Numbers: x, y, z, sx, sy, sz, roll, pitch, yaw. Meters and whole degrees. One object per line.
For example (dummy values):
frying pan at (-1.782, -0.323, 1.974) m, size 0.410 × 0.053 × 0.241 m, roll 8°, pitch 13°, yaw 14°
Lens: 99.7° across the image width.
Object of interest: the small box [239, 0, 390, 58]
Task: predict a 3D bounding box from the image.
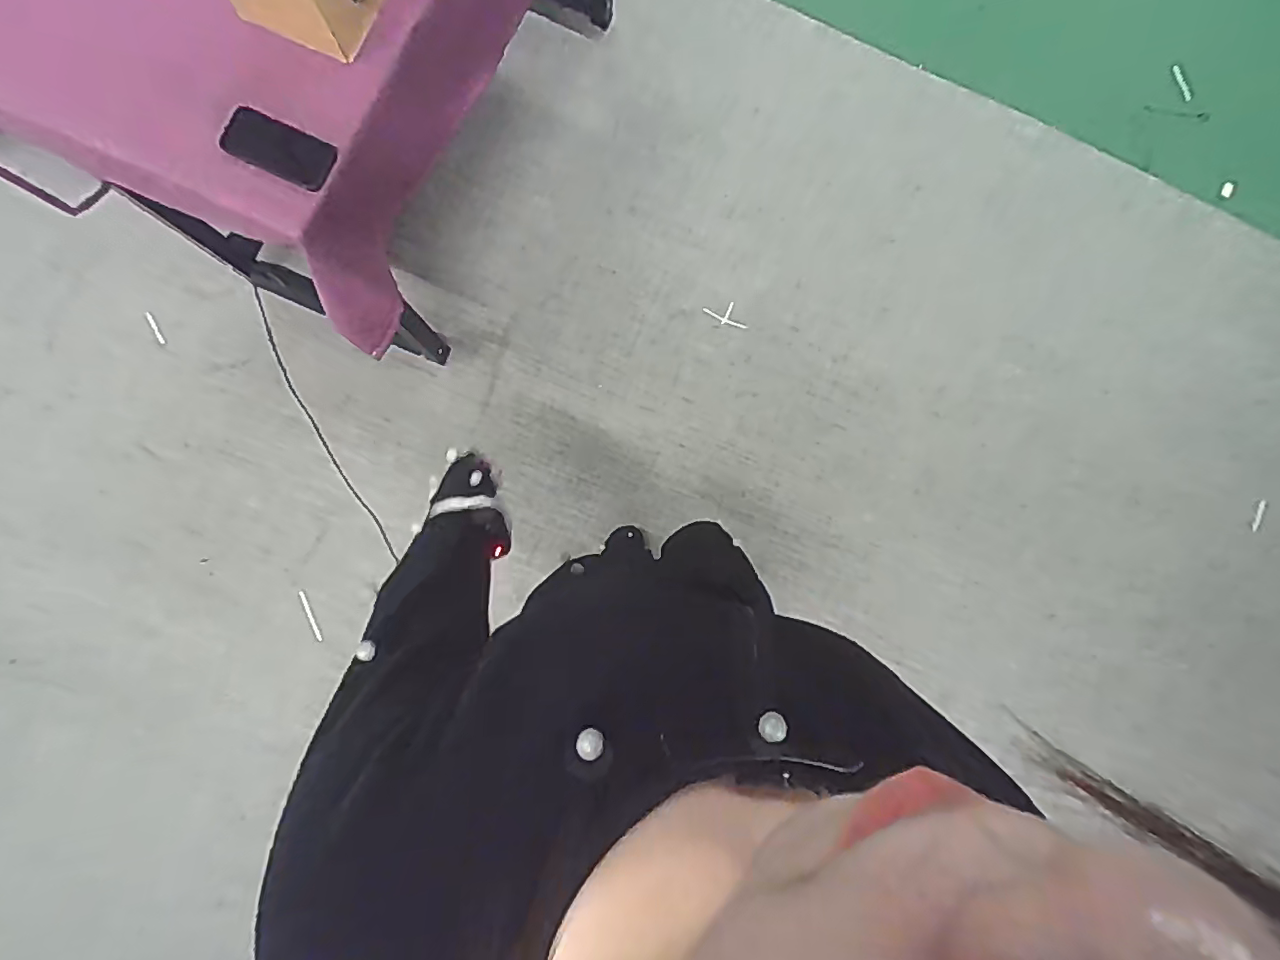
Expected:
small box at (-0.473, -0.736, 0.737) m, size 0.179 × 0.176 × 0.168 m, roll 22°, pitch 84°, yaw -2°
